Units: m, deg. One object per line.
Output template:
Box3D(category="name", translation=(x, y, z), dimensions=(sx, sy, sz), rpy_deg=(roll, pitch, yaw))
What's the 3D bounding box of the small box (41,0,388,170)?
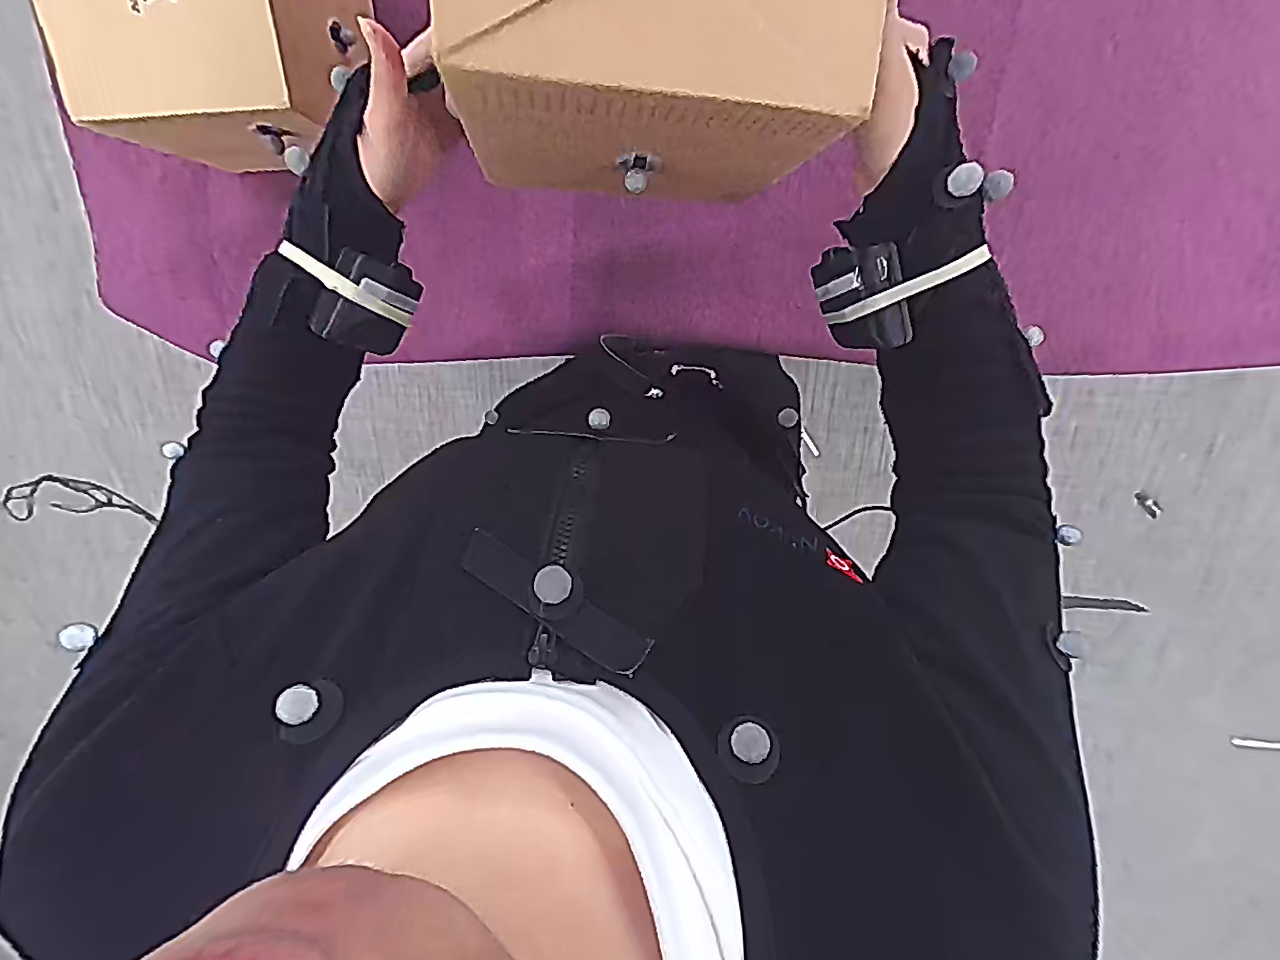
Box3D(category="small box", translation=(-0.335, -0.372, 0.454), dimensions=(0.179, 0.176, 0.168), rpy_deg=(-1, 107, 3))
